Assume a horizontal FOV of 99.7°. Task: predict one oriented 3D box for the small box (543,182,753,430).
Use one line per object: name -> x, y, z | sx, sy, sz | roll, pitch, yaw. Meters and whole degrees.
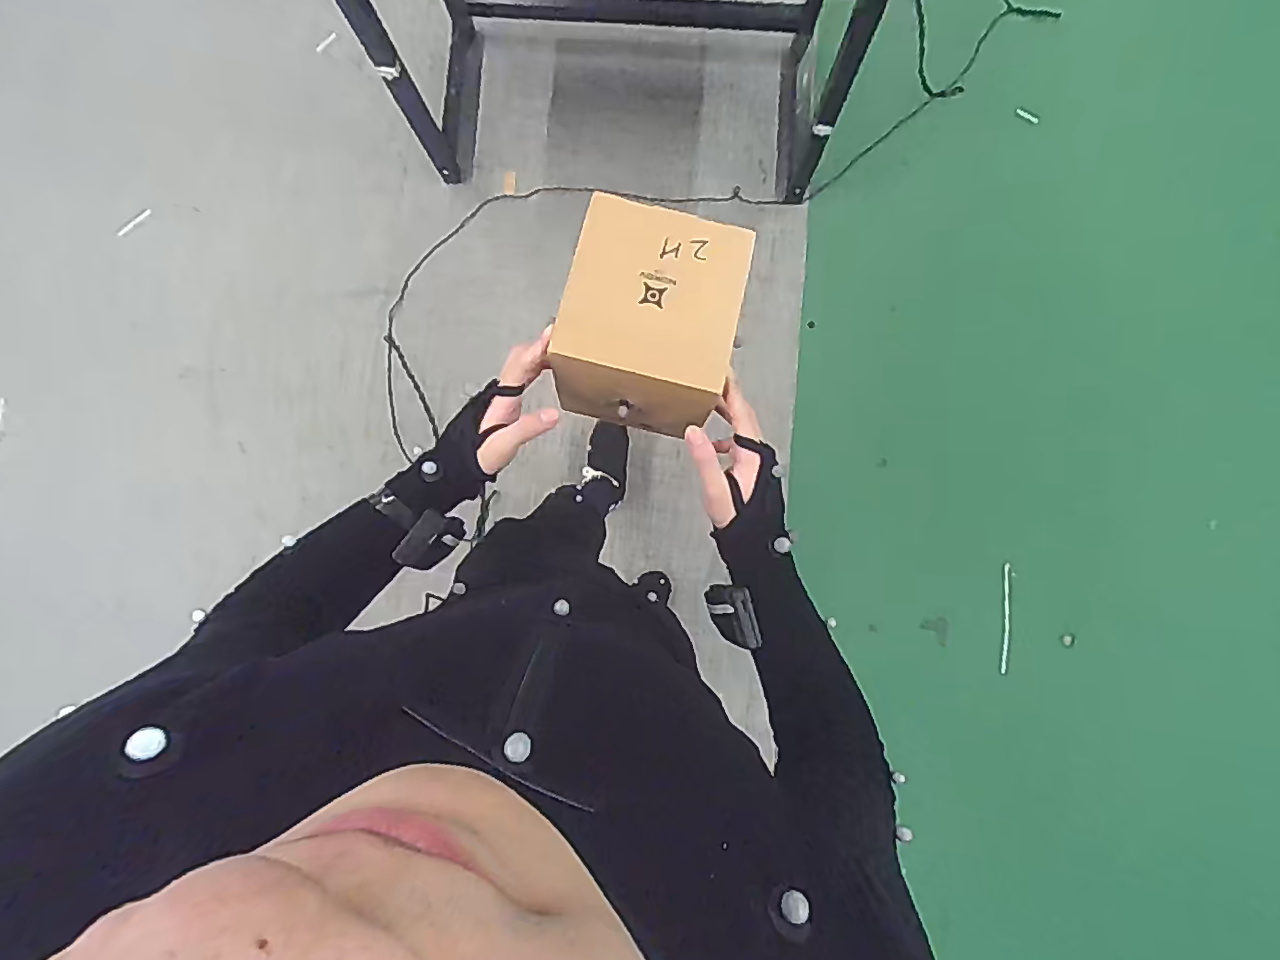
small box -> 0.007, -0.168, 0.577 | 0.168, 0.176, 0.179 | 14, 78, -1
